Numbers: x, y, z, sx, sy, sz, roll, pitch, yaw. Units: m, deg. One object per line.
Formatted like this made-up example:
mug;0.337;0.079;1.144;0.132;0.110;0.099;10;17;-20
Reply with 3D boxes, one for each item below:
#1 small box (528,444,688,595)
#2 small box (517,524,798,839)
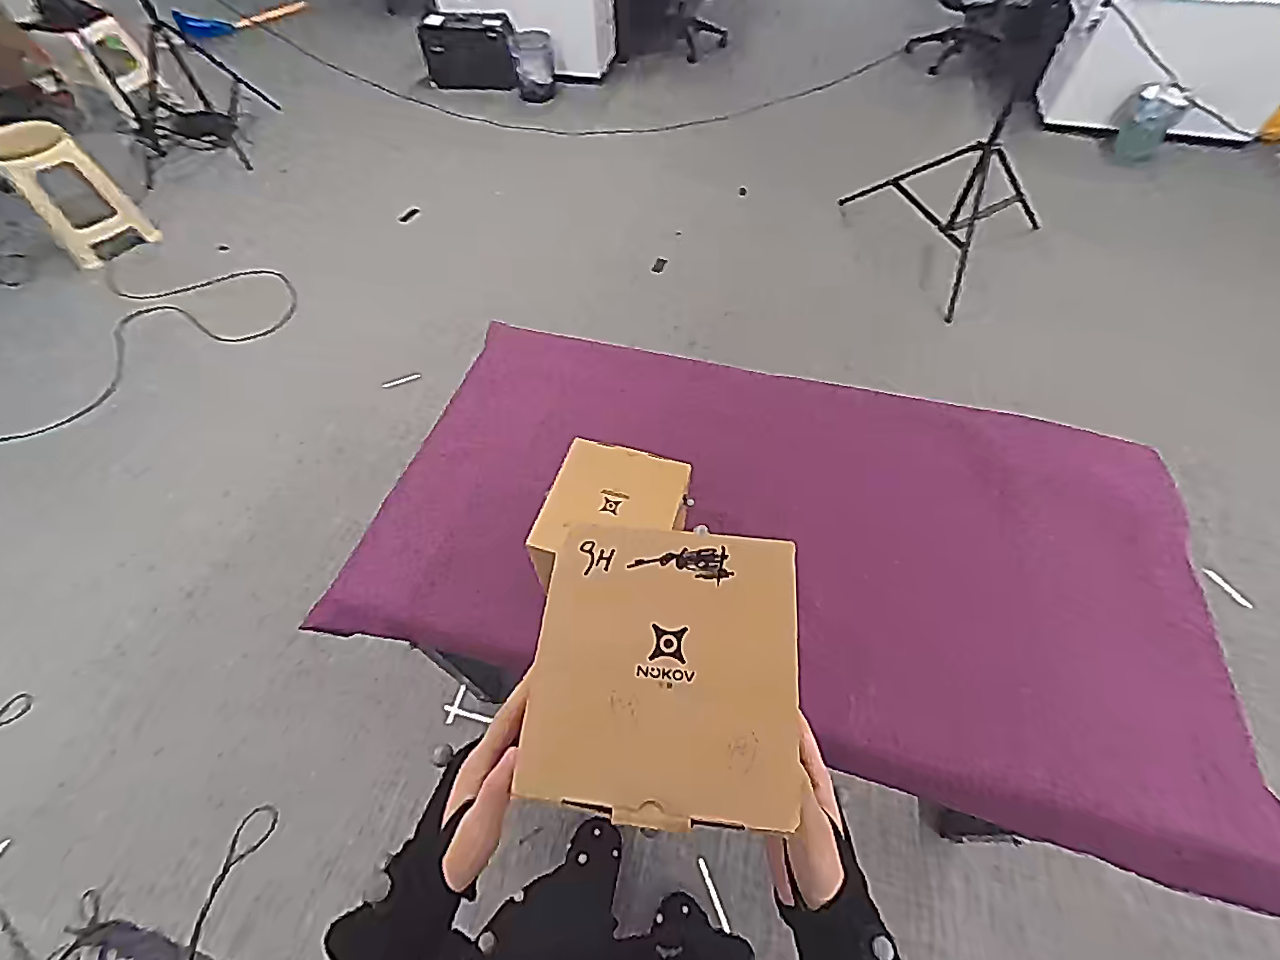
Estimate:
small box;-0.035;0.081;0.754;0.168;0.176;0.179;13;56;9
small box;0.021;0.152;0.418;0.168;0.176;0.179;6;63;5
